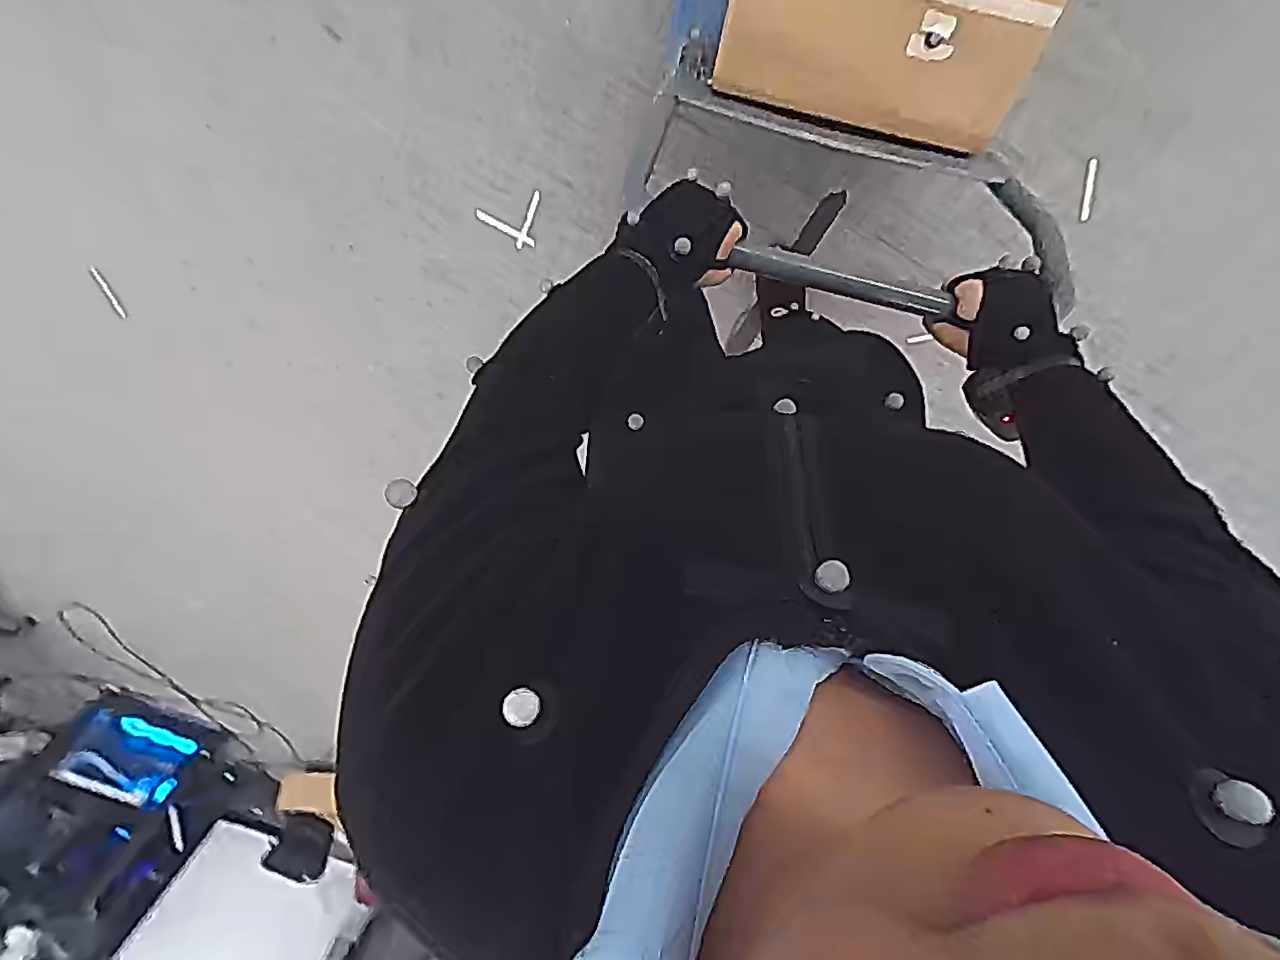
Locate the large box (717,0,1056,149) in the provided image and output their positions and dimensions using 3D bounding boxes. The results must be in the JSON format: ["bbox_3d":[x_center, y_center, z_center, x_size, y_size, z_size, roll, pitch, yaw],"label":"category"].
[{"bbox_3d":[0.346,-0.732,0.796,0.408,0.320,0.320,13,133,-1],"label":"large box"}]
